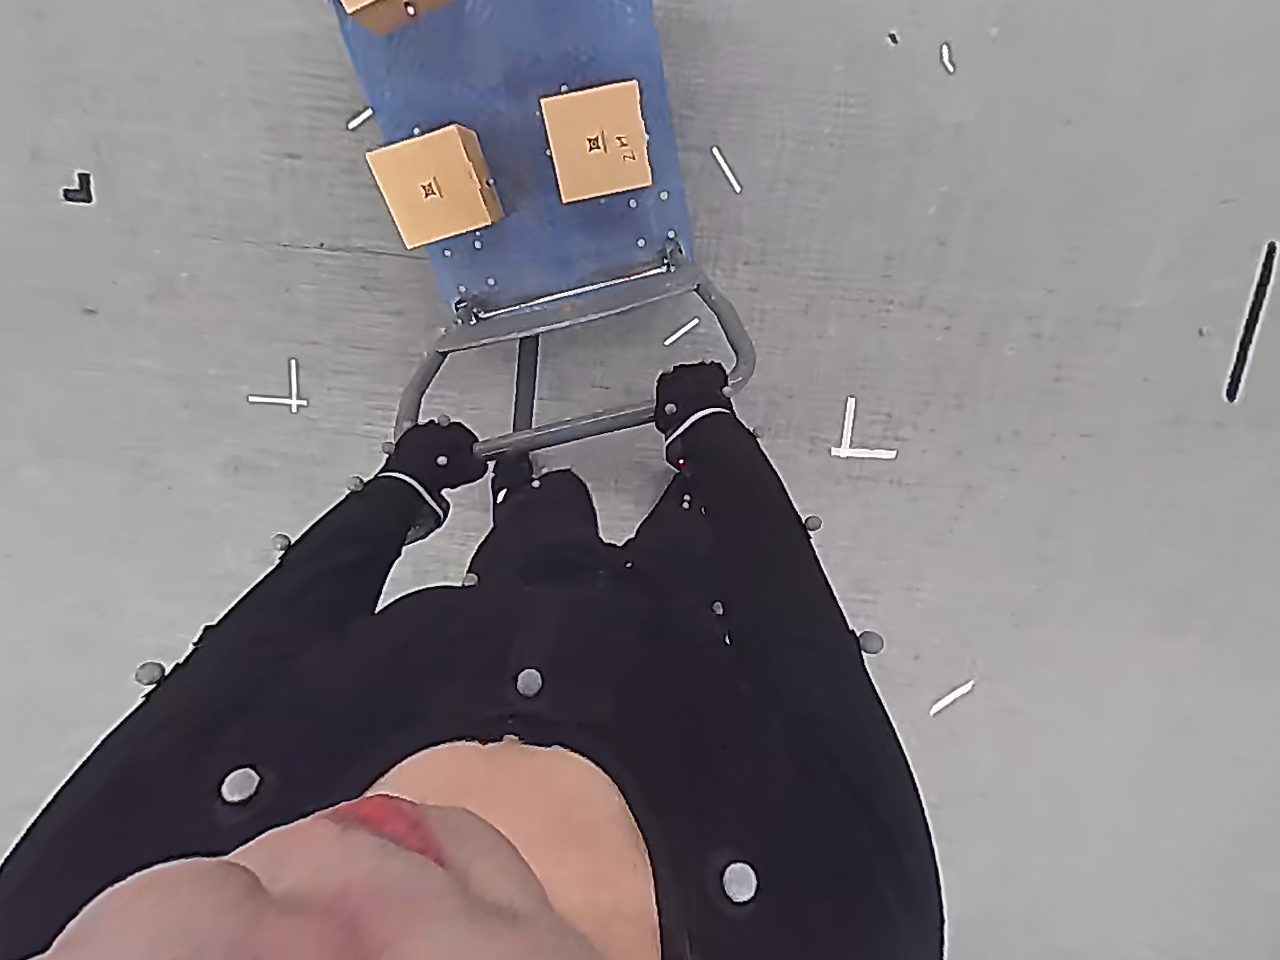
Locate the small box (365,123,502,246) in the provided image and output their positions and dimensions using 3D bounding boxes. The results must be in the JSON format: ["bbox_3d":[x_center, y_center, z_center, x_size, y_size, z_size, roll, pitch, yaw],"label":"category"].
[{"bbox_3d":[-0.389,-0.570,1.055,0.179,0.176,0.168,-17,119,3],"label":"small box"}]

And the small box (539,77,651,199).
[{"bbox_3d":[-0.082,-0.647,1.040,0.179,0.176,0.168,-11,120,1],"label":"small box"}]
